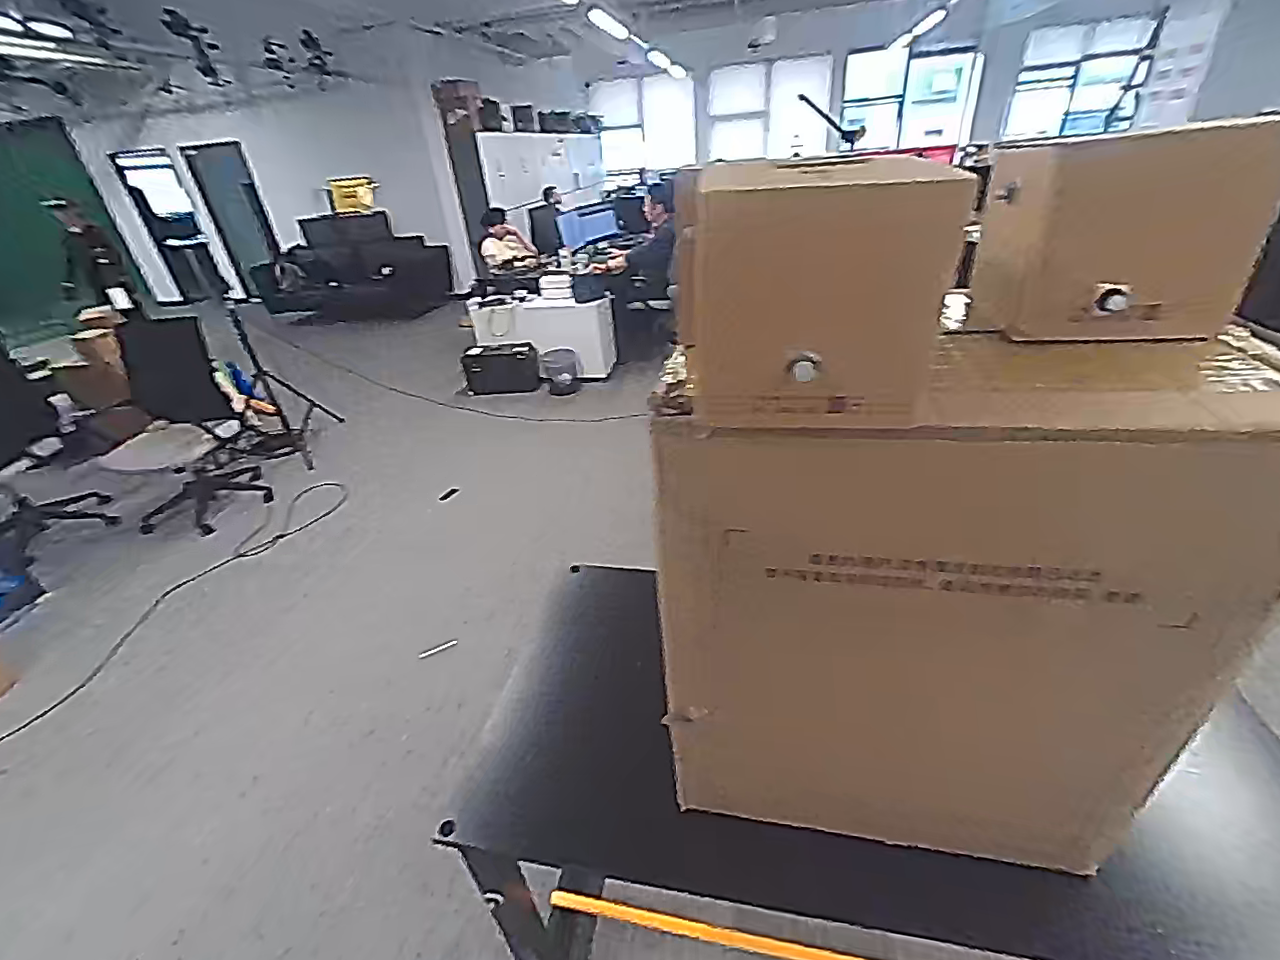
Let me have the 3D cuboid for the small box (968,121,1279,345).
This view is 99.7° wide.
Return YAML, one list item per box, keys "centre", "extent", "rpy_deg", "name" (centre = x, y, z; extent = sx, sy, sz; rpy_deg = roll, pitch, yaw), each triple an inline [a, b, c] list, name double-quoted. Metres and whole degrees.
- centre: [0.444, -0.238, 0.529]
  extent: [0.168, 0.176, 0.179]
  rpy_deg: [1, 31, 15]
  name: "small box"
